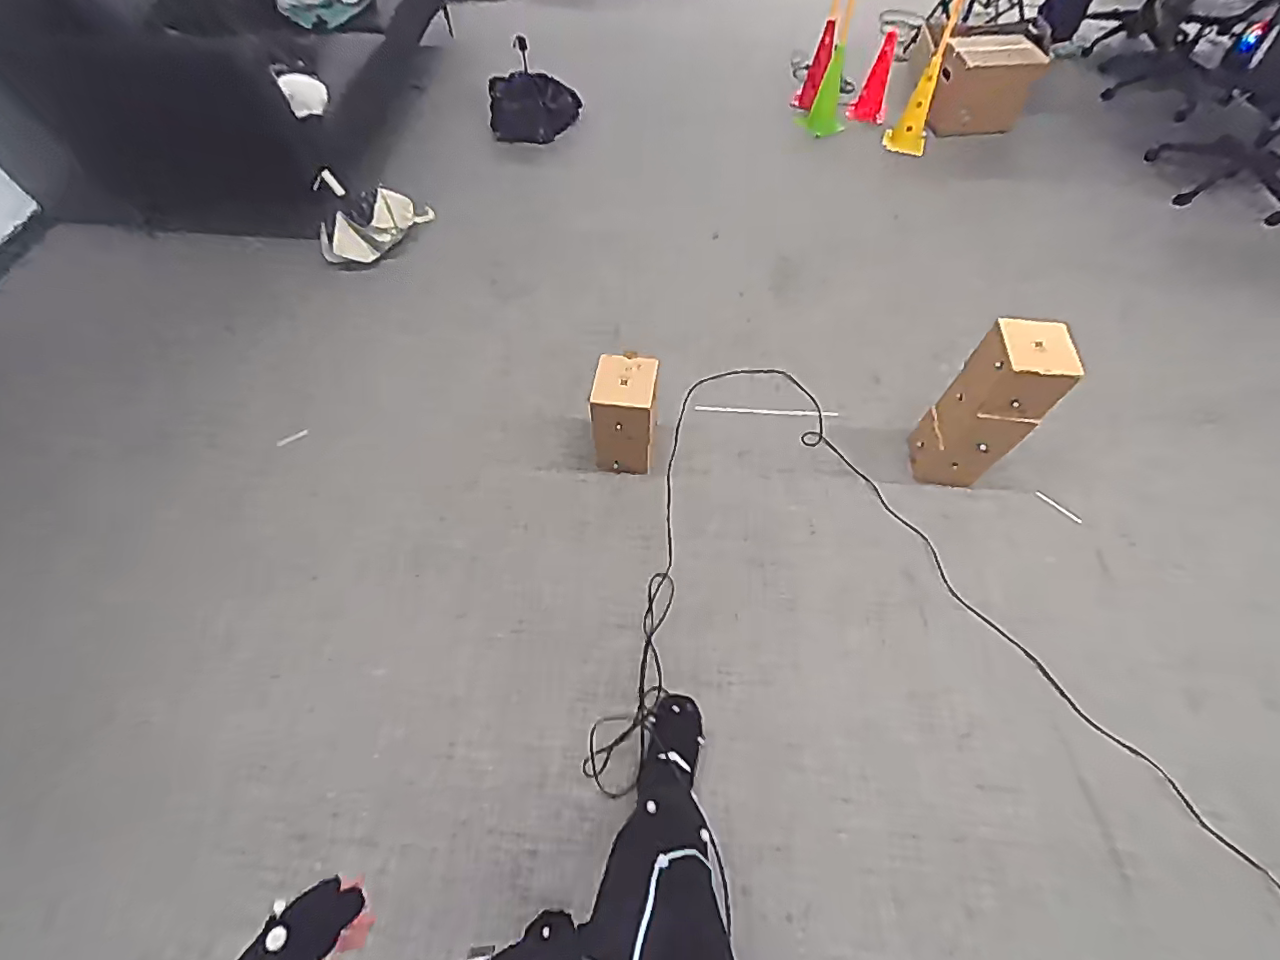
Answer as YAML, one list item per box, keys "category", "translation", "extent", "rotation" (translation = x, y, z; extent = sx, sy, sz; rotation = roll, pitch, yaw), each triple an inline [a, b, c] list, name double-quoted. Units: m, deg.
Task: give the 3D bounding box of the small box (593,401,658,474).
- category: "small box"
  translation: [-0.043, -0.145, 1.659]
  extent: [0.168, 0.176, 0.179]
  rotation: [9, 59, 6]

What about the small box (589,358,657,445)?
- category: "small box"
  translation: [-0.042, -0.218, 1.531]
  extent: [0.168, 0.176, 0.179]
  rotation: [7, 58, 5]

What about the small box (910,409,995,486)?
- category: "small box"
  translation: [0.942, -0.096, 1.641]
  extent: [0.179, 0.176, 0.168]
  rotation: [5, 59, 3]

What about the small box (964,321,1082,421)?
- category: "small box"
  translation: [0.951, -0.273, 1.366]
  extent: [0.168, 0.176, 0.179]
  rotation: [6, 59, 3]

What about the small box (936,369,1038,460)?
- category: "small box"
  translation: [0.950, -0.181, 1.500]
  extent: [0.168, 0.176, 0.179]
  rotation: [6, 59, 3]
